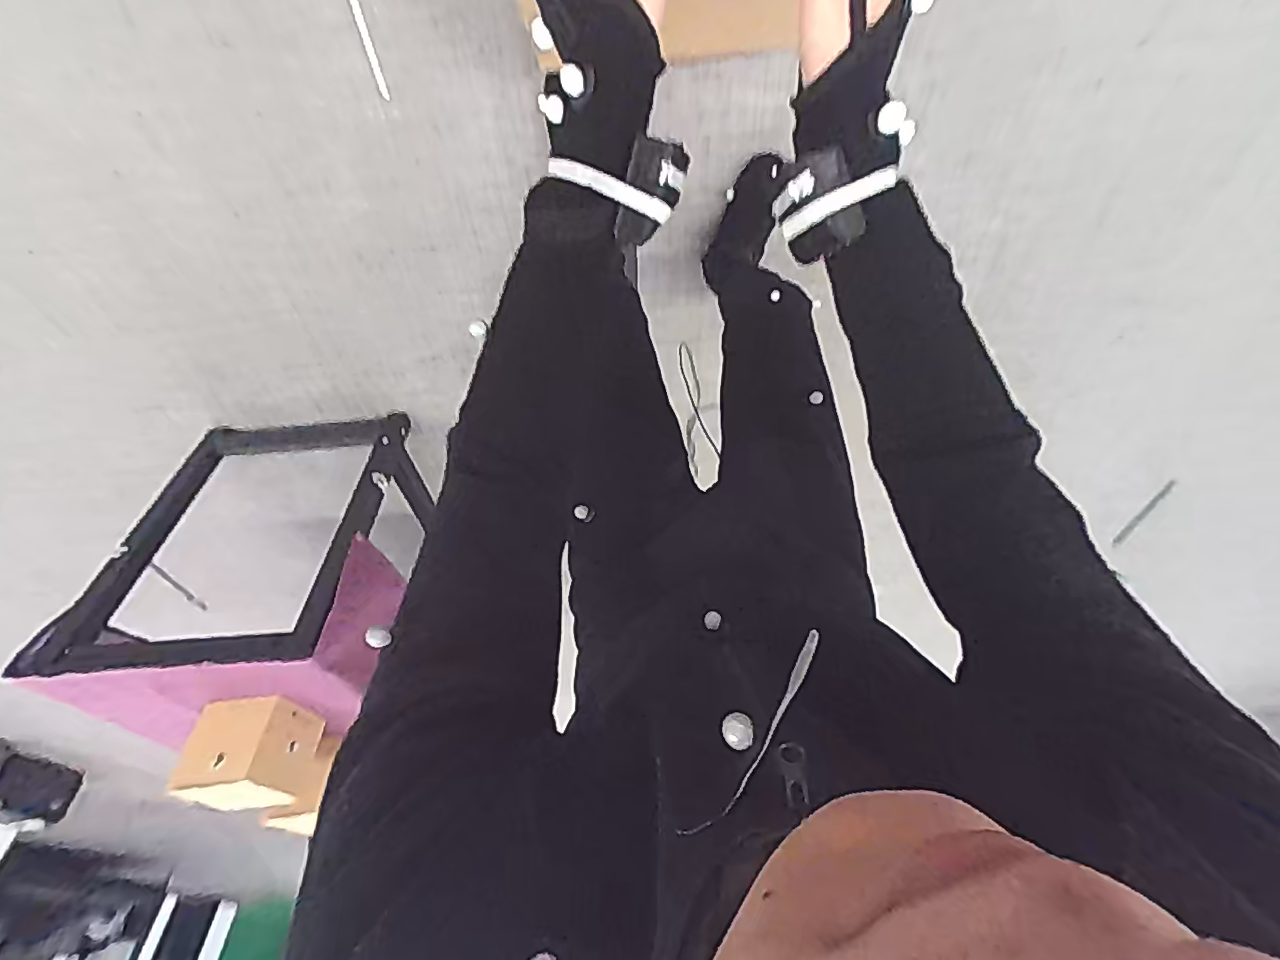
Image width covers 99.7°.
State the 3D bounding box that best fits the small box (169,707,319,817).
[{"bbox_3d":[-0.815,0.594,1.142,0.179,0.176,0.168,-9,136,7],"label":"small box"}]

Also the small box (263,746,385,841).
[{"bbox_3d":[-0.772,0.779,1.343,0.179,0.176,0.168,-11,137,10],"label":"small box"}]
